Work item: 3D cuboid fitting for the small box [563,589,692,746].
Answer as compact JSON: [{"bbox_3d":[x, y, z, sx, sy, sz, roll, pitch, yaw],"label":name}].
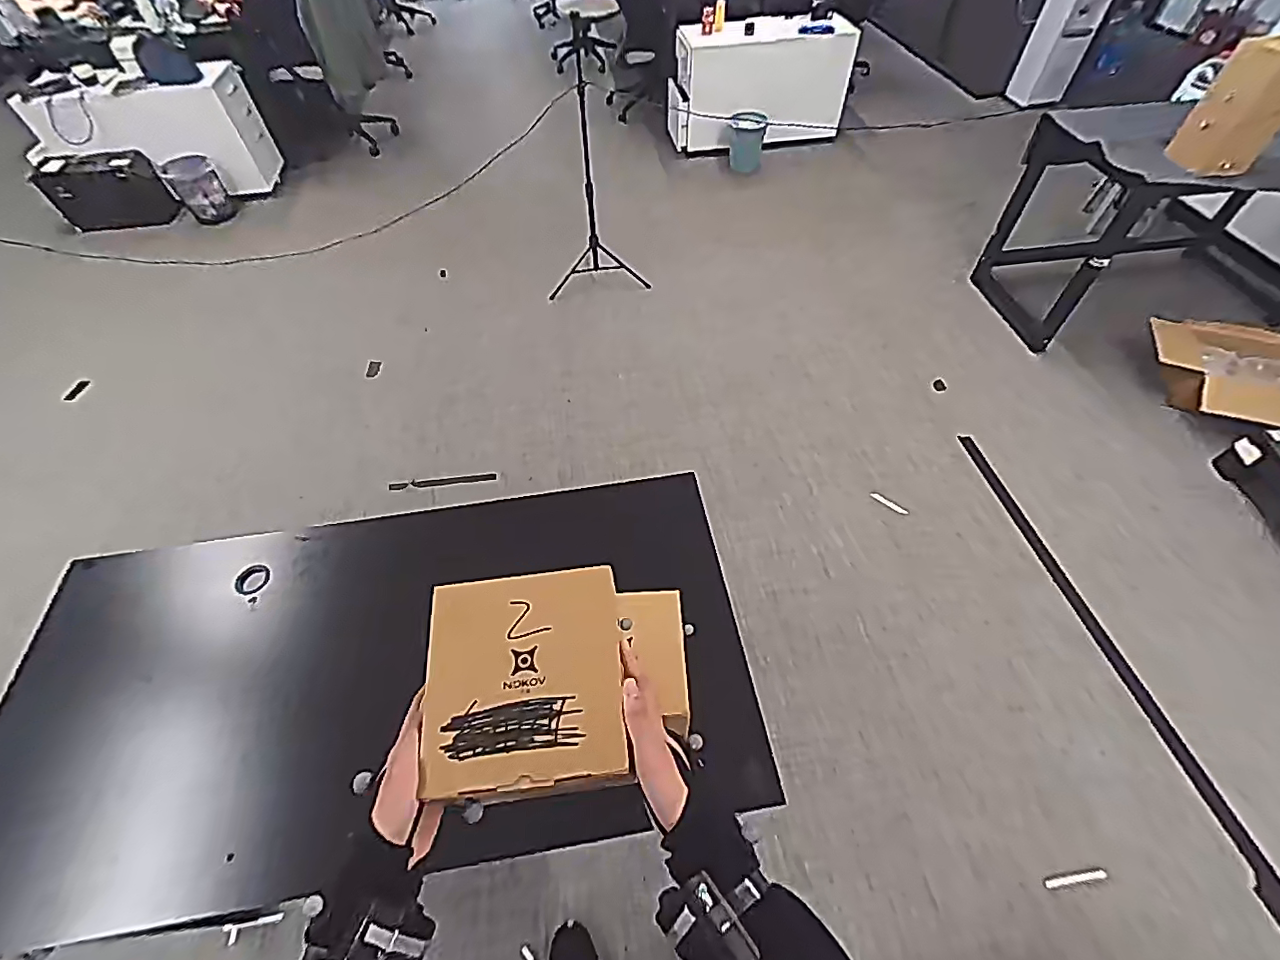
[{"bbox_3d":[-0.015,0.277,0.794,0.168,0.176,0.179,-3,53,1],"label":"small box"}]
